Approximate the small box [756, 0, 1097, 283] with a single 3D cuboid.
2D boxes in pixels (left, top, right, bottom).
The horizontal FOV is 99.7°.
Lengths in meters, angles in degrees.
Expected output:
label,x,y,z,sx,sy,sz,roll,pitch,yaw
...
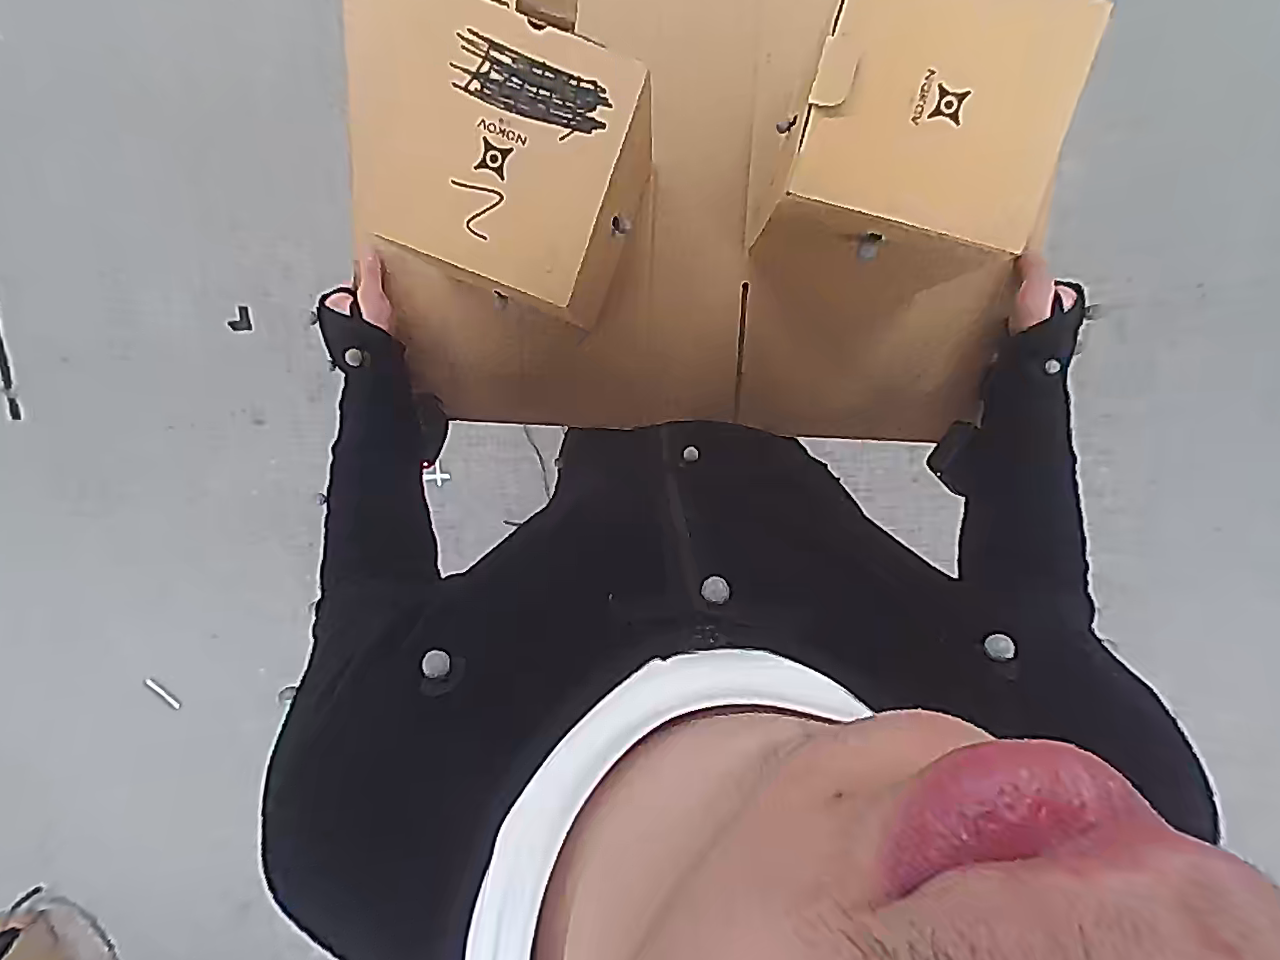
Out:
label,x,y,z,sx,sy,sz,roll,pitch,yaw
small box,0.214,-0.280,0.462,0.179,0.176,0.168,16,100,2
